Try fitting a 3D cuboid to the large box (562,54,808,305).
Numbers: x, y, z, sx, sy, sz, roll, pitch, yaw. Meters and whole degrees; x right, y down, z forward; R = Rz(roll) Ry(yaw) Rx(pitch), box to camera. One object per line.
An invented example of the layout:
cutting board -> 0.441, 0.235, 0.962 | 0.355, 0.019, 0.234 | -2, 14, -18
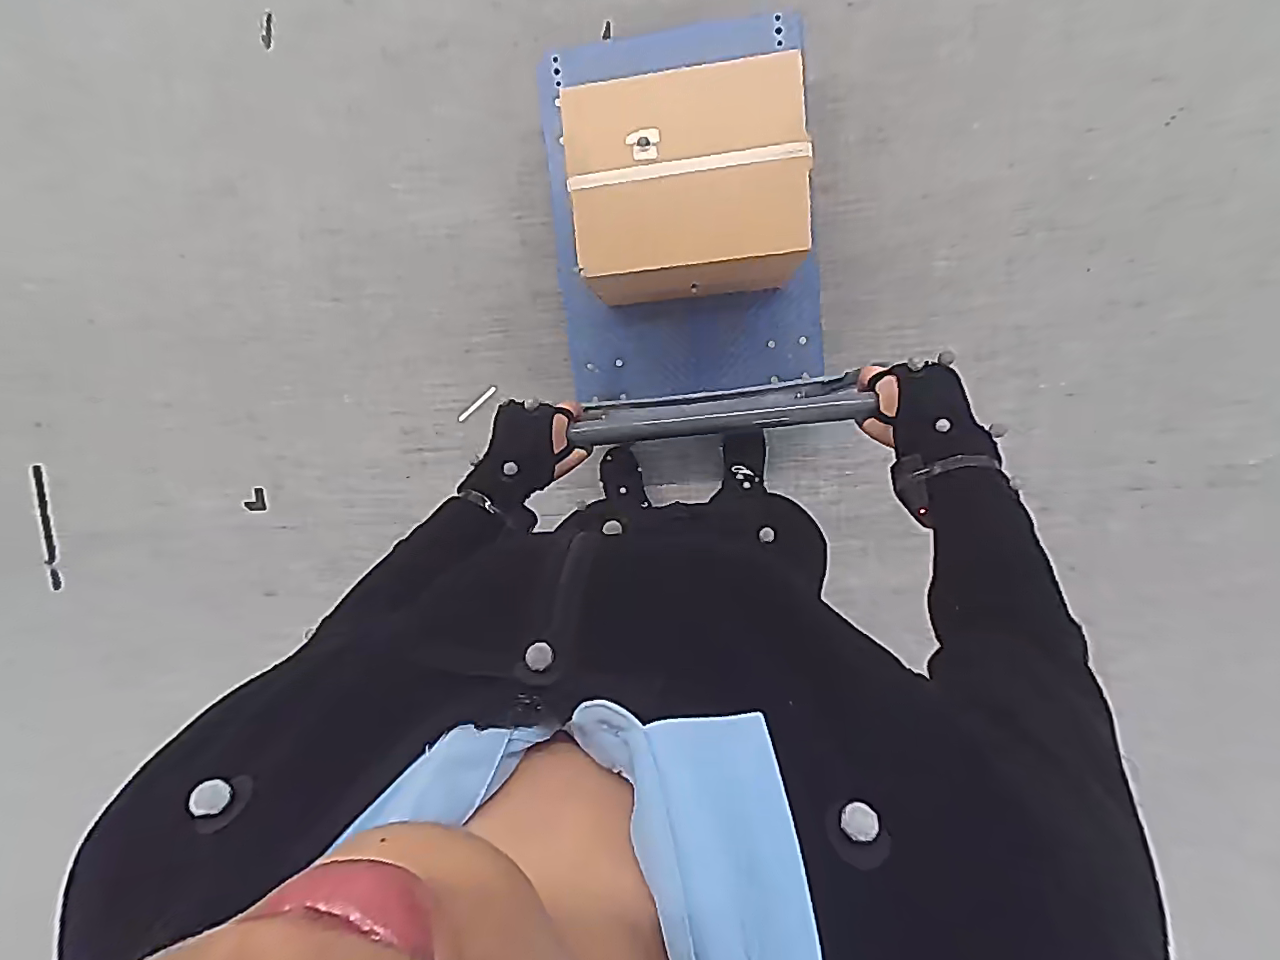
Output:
large box -> 0.094, -0.553, 1.077 | 0.408, 0.320, 0.320 | -5, 97, 7
